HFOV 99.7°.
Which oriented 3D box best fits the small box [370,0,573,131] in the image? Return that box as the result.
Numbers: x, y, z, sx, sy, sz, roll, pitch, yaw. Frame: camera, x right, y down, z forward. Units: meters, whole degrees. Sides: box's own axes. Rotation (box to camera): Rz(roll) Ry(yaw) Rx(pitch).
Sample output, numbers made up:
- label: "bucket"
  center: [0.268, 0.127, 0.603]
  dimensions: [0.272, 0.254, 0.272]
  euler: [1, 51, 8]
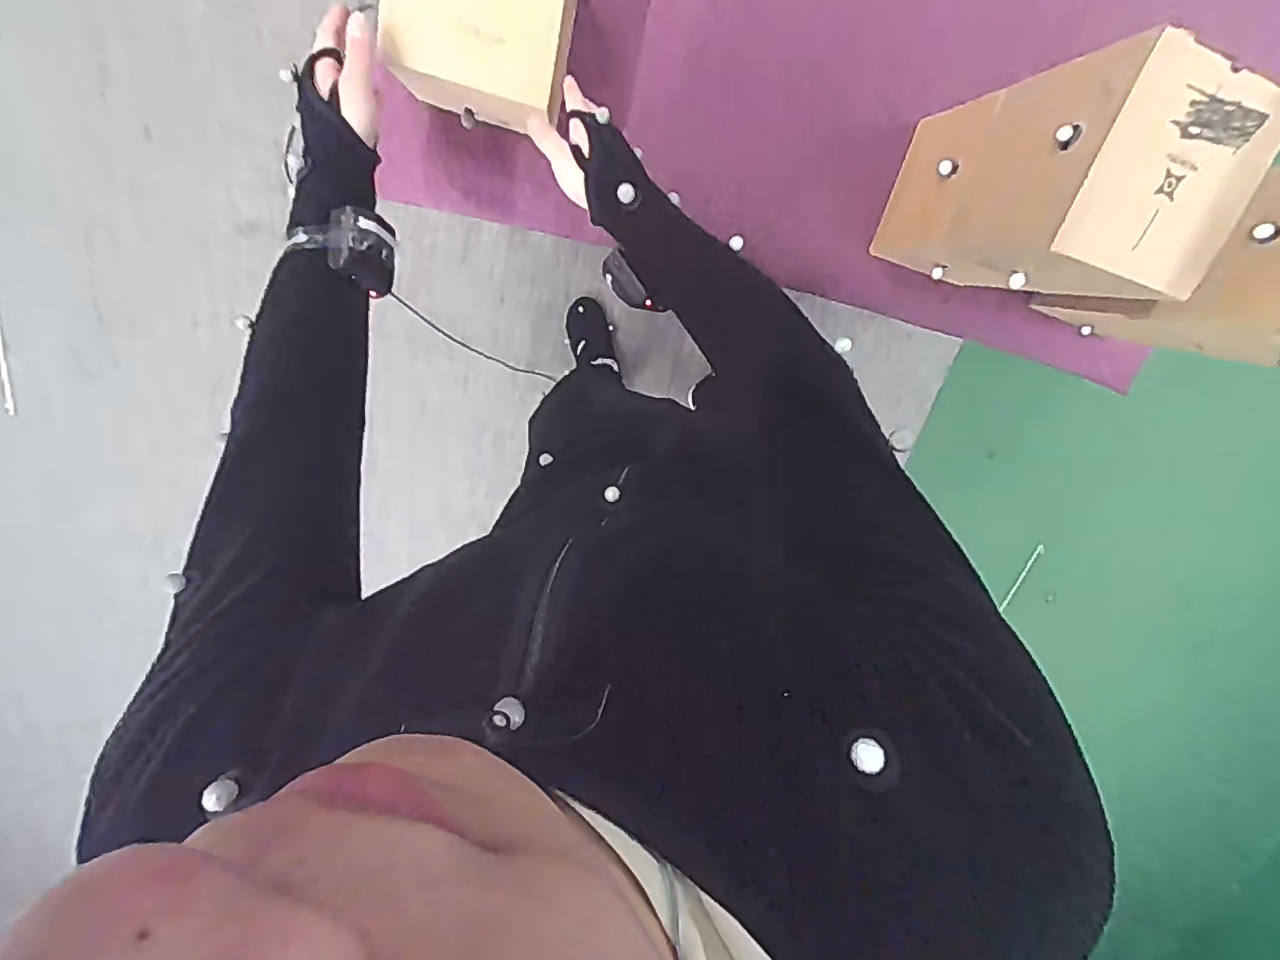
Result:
- label: "small box"
  center: [-0.162, -0.500, 0.565]
  dimensions: [0.168, 0.176, 0.179]
  euler: [11, 111, -11]

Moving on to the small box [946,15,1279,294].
- label: "small box"
  center: [0.455, -0.304, 0.545]
  dimensions: [0.168, 0.176, 0.179]
  euler: [13, 111, -12]

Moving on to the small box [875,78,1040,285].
- label: "small box"
  center: [0.436, -0.366, 0.696]
  dimensions: [0.168, 0.176, 0.179]
  euler: [13, 110, -12]

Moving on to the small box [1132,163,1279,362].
- label: "small box"
  center: [0.724, -0.238, 0.602]
  dimensions: [0.168, 0.176, 0.179]
  euler: [15, 110, -11]
